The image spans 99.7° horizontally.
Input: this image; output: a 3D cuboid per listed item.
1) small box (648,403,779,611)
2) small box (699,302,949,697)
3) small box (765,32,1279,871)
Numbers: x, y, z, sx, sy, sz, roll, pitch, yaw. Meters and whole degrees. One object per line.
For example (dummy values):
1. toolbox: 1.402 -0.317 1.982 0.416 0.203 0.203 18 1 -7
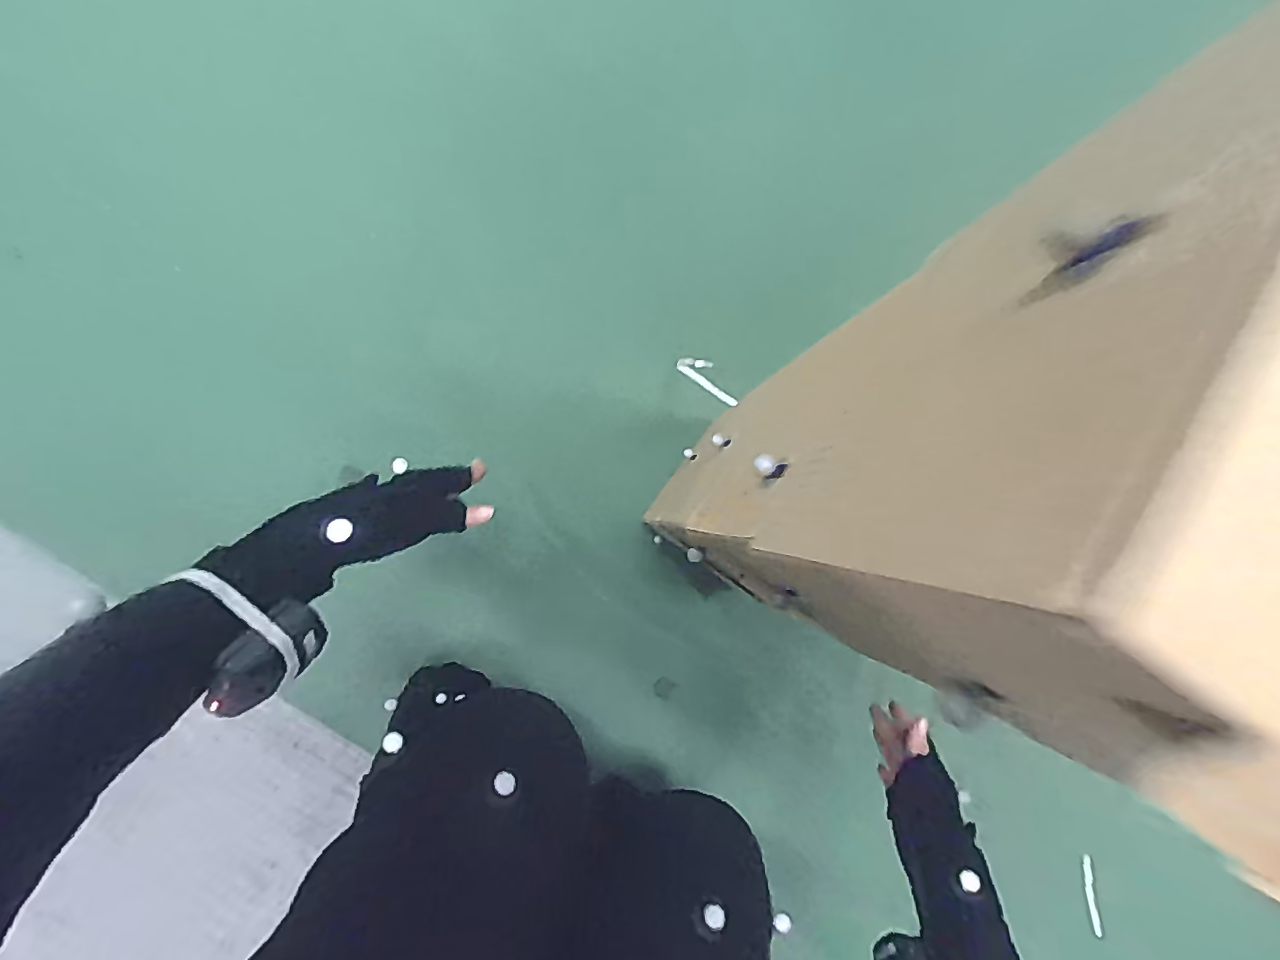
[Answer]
1. small box: 0.124 0.034 0.678 0.168 0.176 0.179 37 84 -3
2. small box: 0.158 0.012 0.353 0.168 0.176 0.179 35 84 -3
3. small box: 0.170 0.002 0.189 0.168 0.176 0.179 34 84 -3
